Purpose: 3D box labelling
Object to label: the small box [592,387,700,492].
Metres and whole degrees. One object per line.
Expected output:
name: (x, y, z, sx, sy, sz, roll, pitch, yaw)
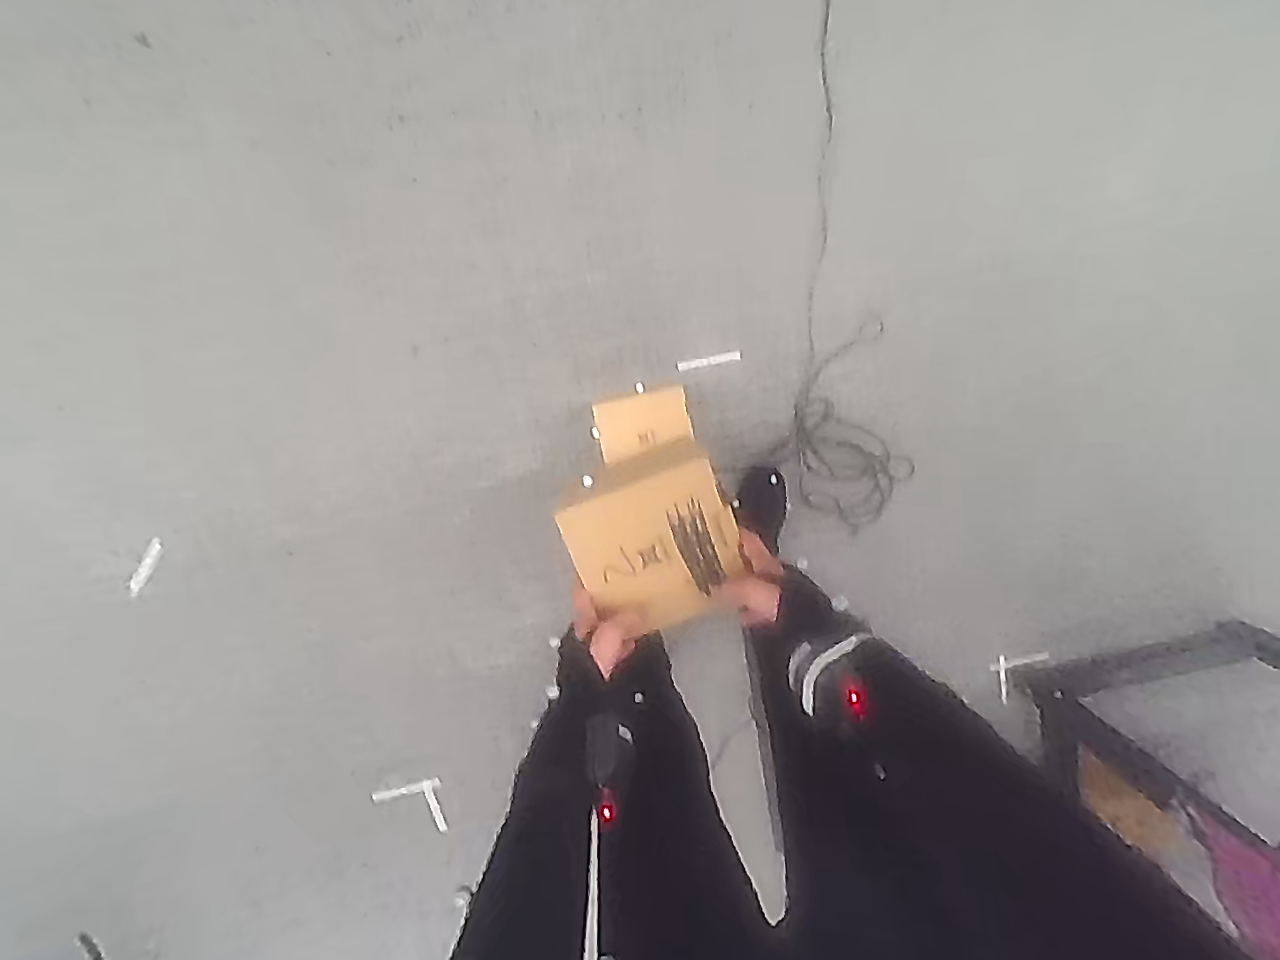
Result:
small box: (0.012, -0.088, 1.086, 0.179, 0.176, 0.168, -13, 103, 1)
